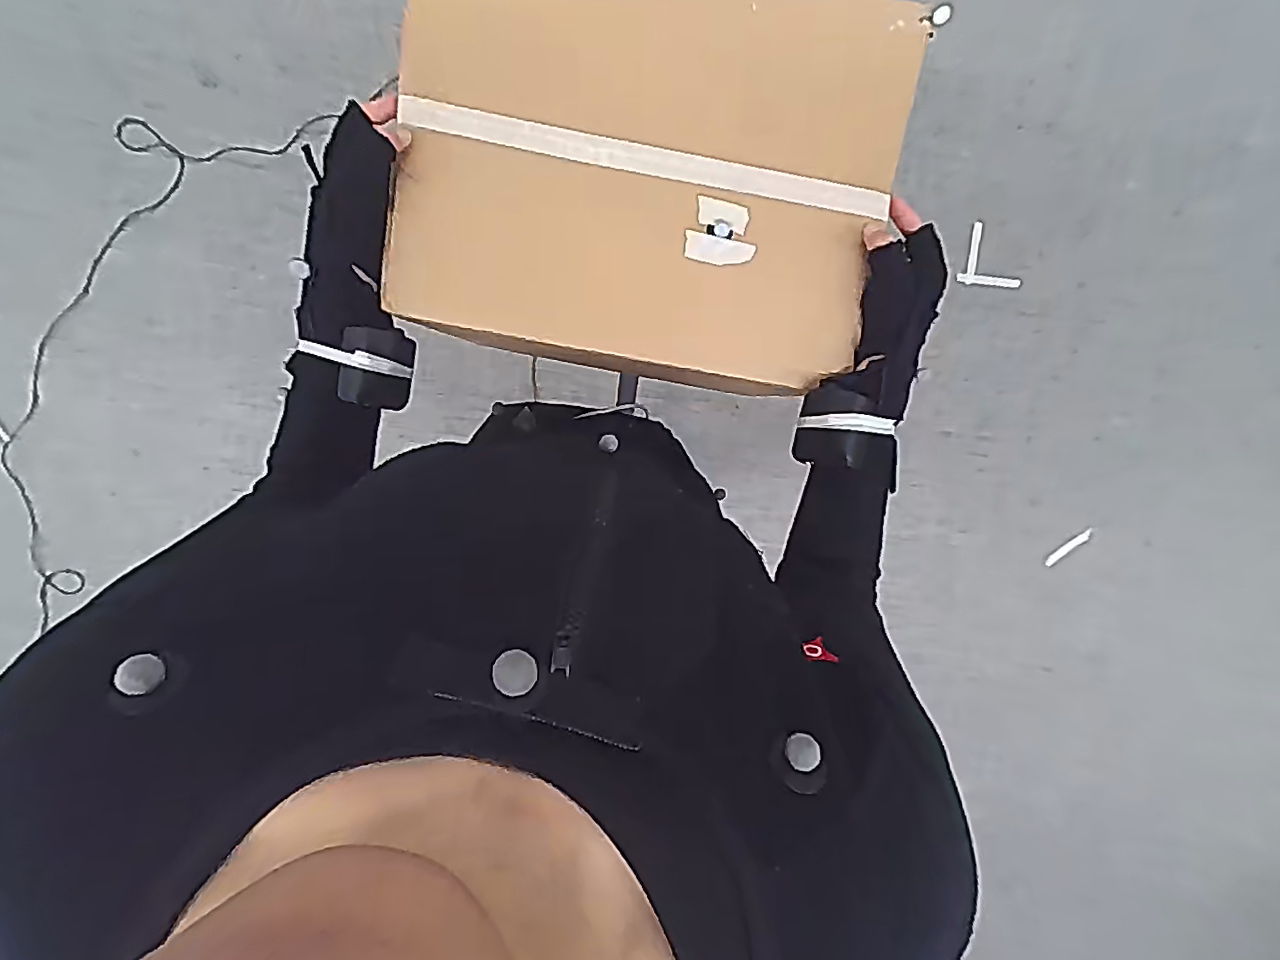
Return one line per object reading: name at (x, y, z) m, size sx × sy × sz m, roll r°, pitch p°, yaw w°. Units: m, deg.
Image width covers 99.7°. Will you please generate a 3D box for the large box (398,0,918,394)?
large box at (0.002, -0.279, 0.599) m, size 0.408 × 0.320 × 0.320 m, roll 10°, pitch 100°, yaw -5°
